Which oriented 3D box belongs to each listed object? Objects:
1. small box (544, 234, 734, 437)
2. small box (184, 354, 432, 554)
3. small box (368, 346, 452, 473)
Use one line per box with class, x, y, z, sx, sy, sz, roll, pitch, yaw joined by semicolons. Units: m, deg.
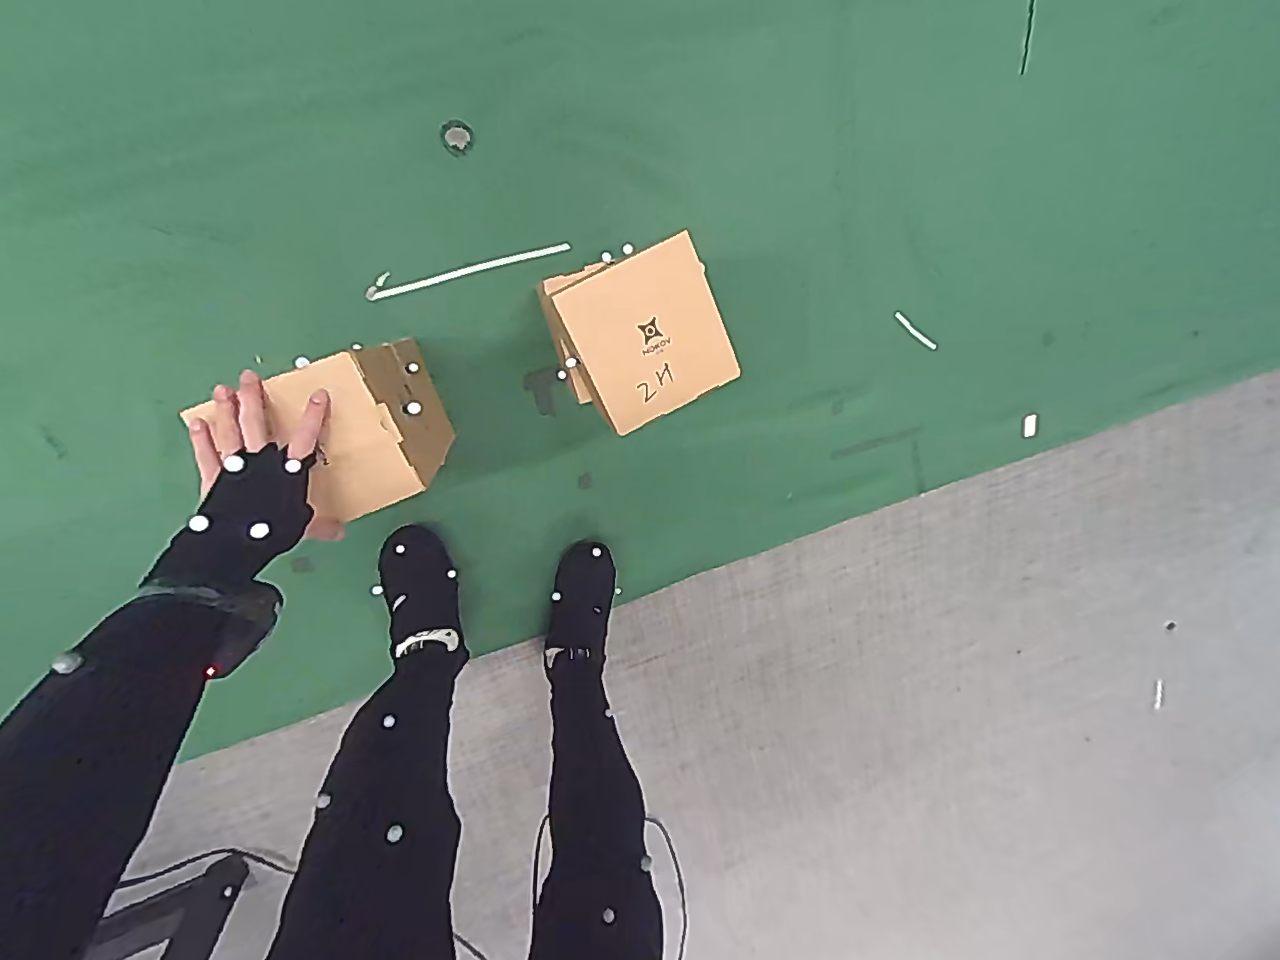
small box;-0.011;-0.179;0.679;0.168;0.176;0.179;-27;111;-3
small box;-0.365;-0.044;0.643;0.179;0.176;0.168;-23;108;-6
small box;-0.394;-0.089;0.798;0.168;0.176;0.179;-20;109;-6
